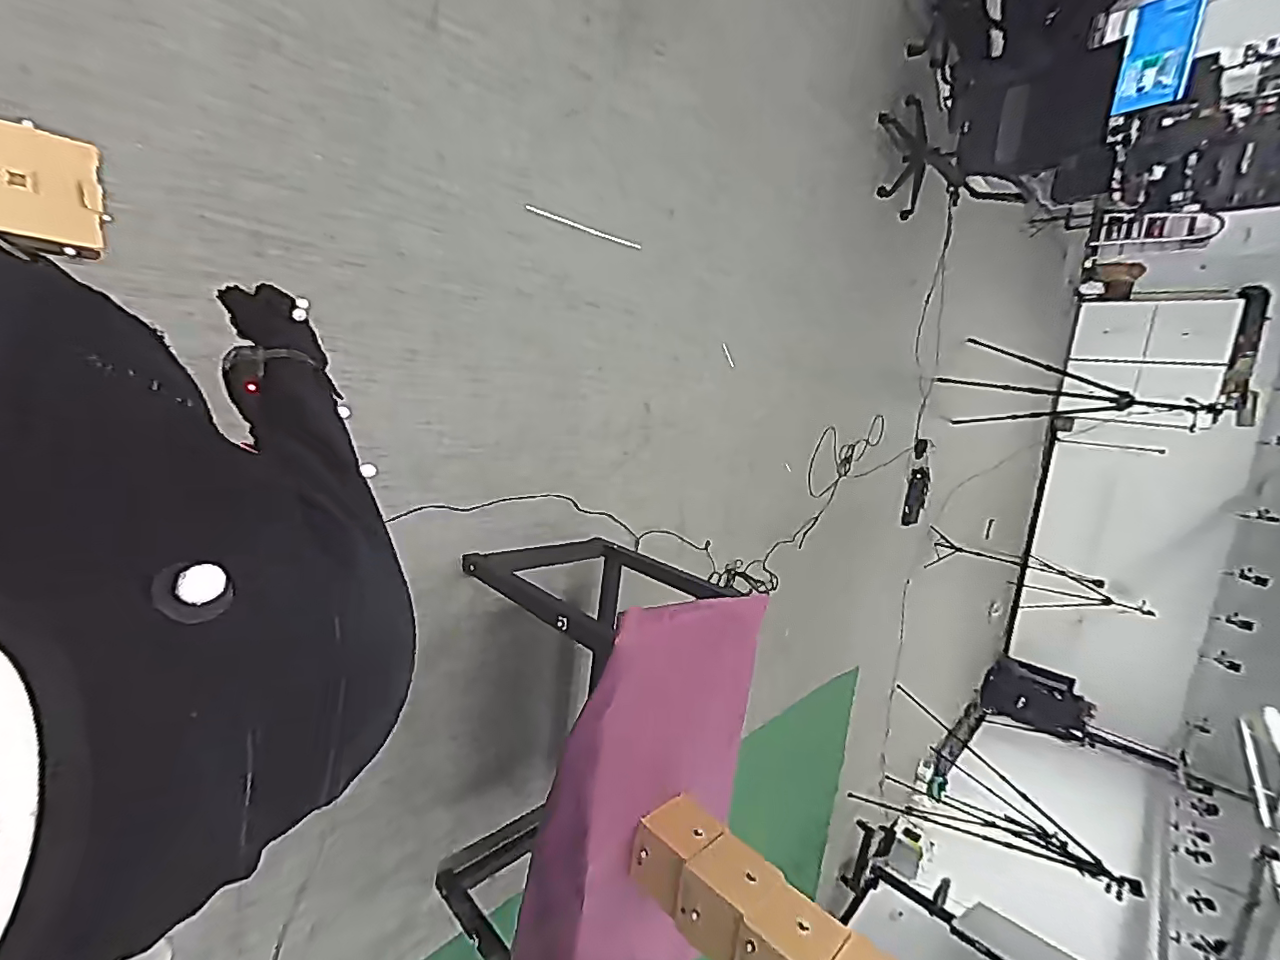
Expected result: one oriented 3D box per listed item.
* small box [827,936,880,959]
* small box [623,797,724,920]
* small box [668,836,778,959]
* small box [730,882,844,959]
[{"bbox_3d":[0.422,1.036,1.028,0.179,0.176,0.168,5,96,-48],"label":"small box"},{"bbox_3d":[0.085,0.951,1.375,0.179,0.176,0.168,5,97,-46],"label":"small box"},{"bbox_3d":[0.192,0.975,1.253,0.179,0.176,0.168,2,98,-46],"label":"small box"},{"bbox_3d":[0.302,1.008,1.135,0.179,0.176,0.168,3,98,-48],"label":"small box"}]
